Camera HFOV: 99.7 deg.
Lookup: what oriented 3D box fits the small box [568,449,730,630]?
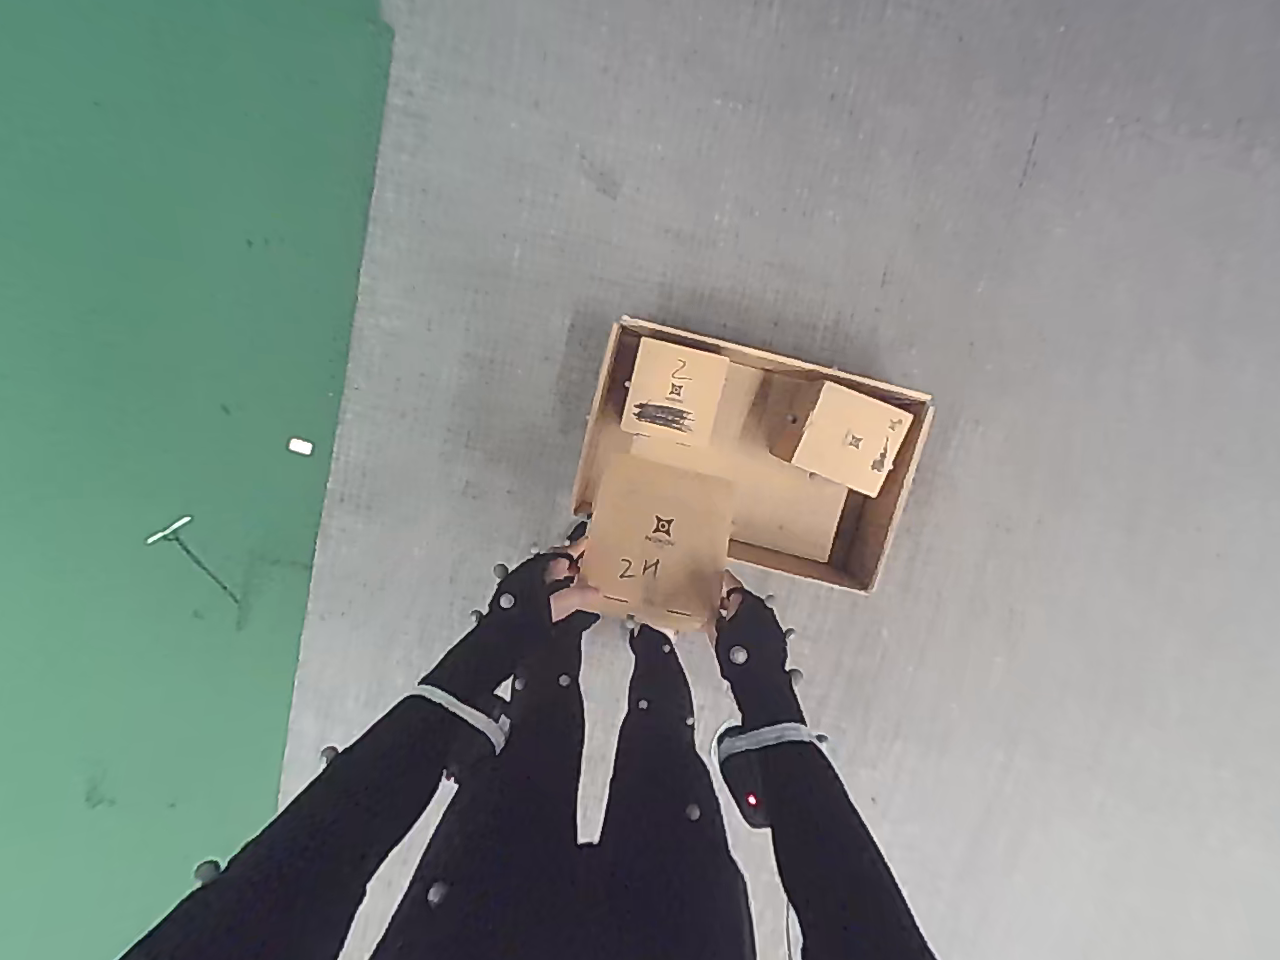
[{"bbox_3d":[0.004,0.087,0.707,0.168,0.176,0.179,14,69,-4],"label":"small box"}]

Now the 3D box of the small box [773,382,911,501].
[{"bbox_3d":[0.379,-0.077,1.055,0.179,0.176,0.168,23,99,0],"label":"small box"}]
